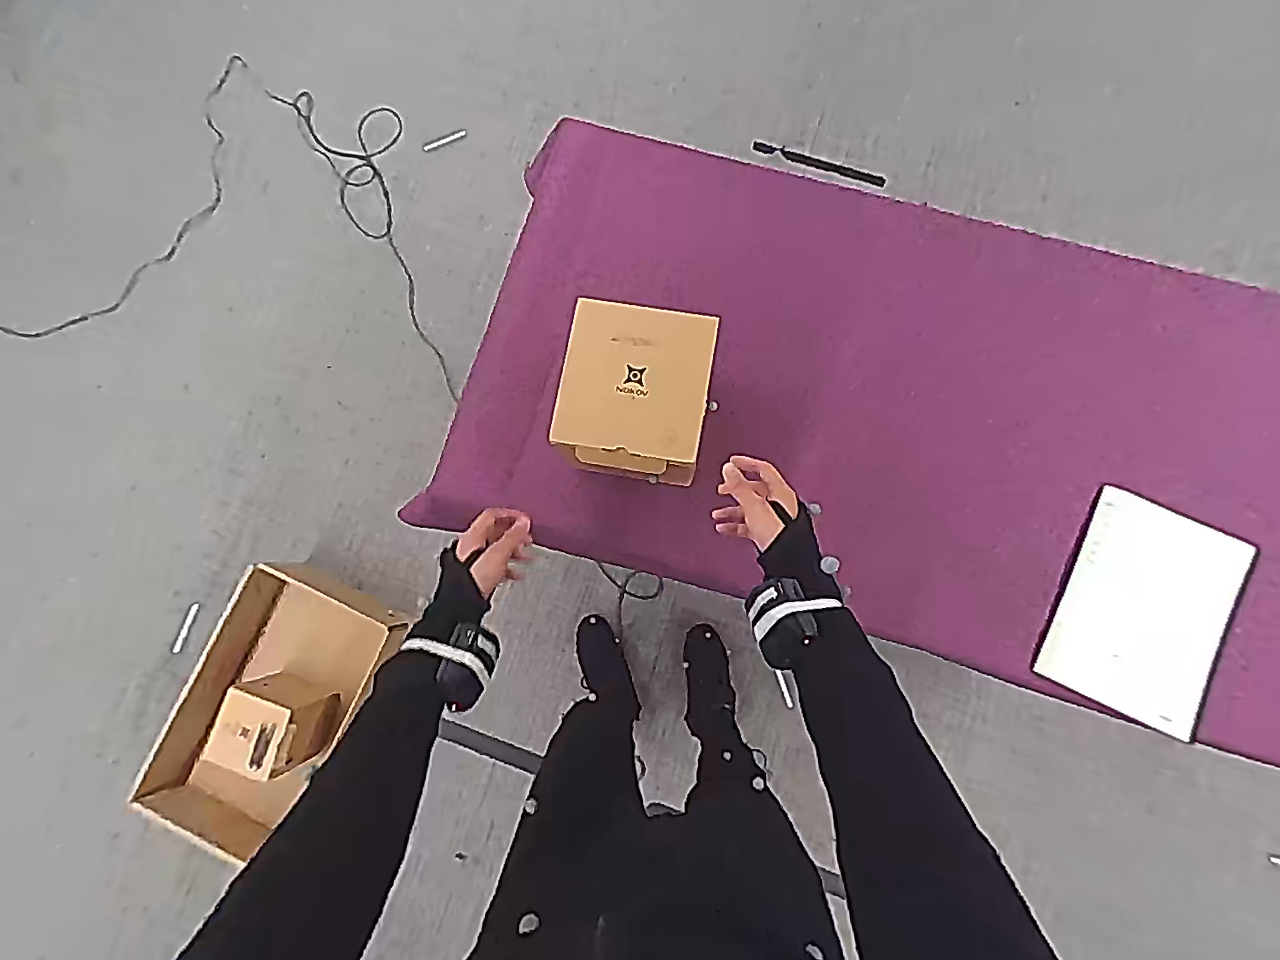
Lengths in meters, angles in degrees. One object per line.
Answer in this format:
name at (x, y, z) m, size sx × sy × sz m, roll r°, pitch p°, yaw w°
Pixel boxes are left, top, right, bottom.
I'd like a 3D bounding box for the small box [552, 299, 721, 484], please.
small box at (0.001, -0.099, 0.683) m, size 0.168 × 0.176 × 0.179 m, roll 10°, pitch 82°, yaw 4°
